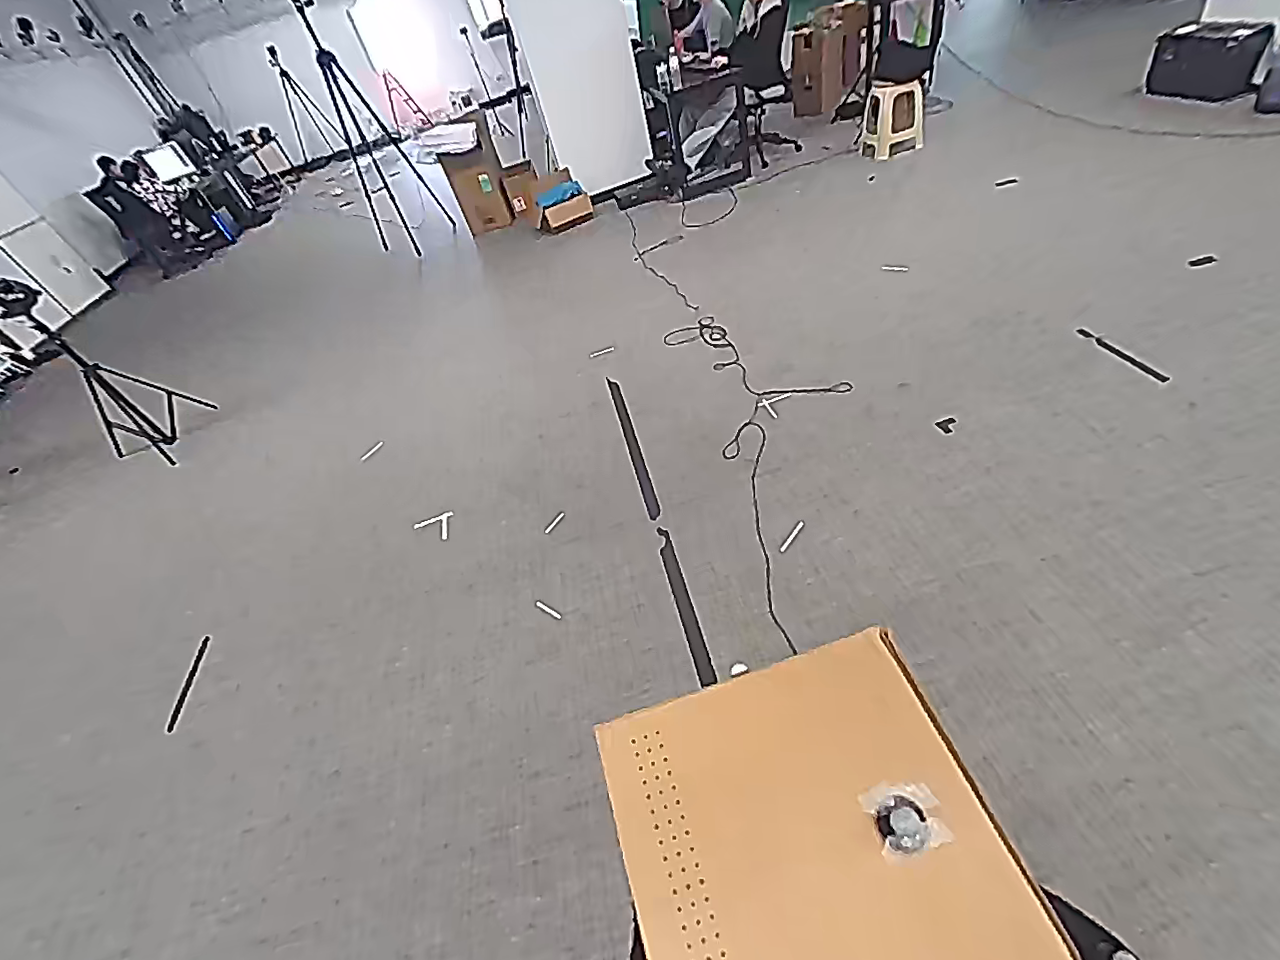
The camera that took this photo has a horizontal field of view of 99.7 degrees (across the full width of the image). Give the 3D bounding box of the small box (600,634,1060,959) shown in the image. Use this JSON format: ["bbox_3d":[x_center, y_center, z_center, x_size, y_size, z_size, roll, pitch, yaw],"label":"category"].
[{"bbox_3d":[0.085,0.221,0.315,0.176,0.168,0.179,-19,55,-3],"label":"small box"}]
